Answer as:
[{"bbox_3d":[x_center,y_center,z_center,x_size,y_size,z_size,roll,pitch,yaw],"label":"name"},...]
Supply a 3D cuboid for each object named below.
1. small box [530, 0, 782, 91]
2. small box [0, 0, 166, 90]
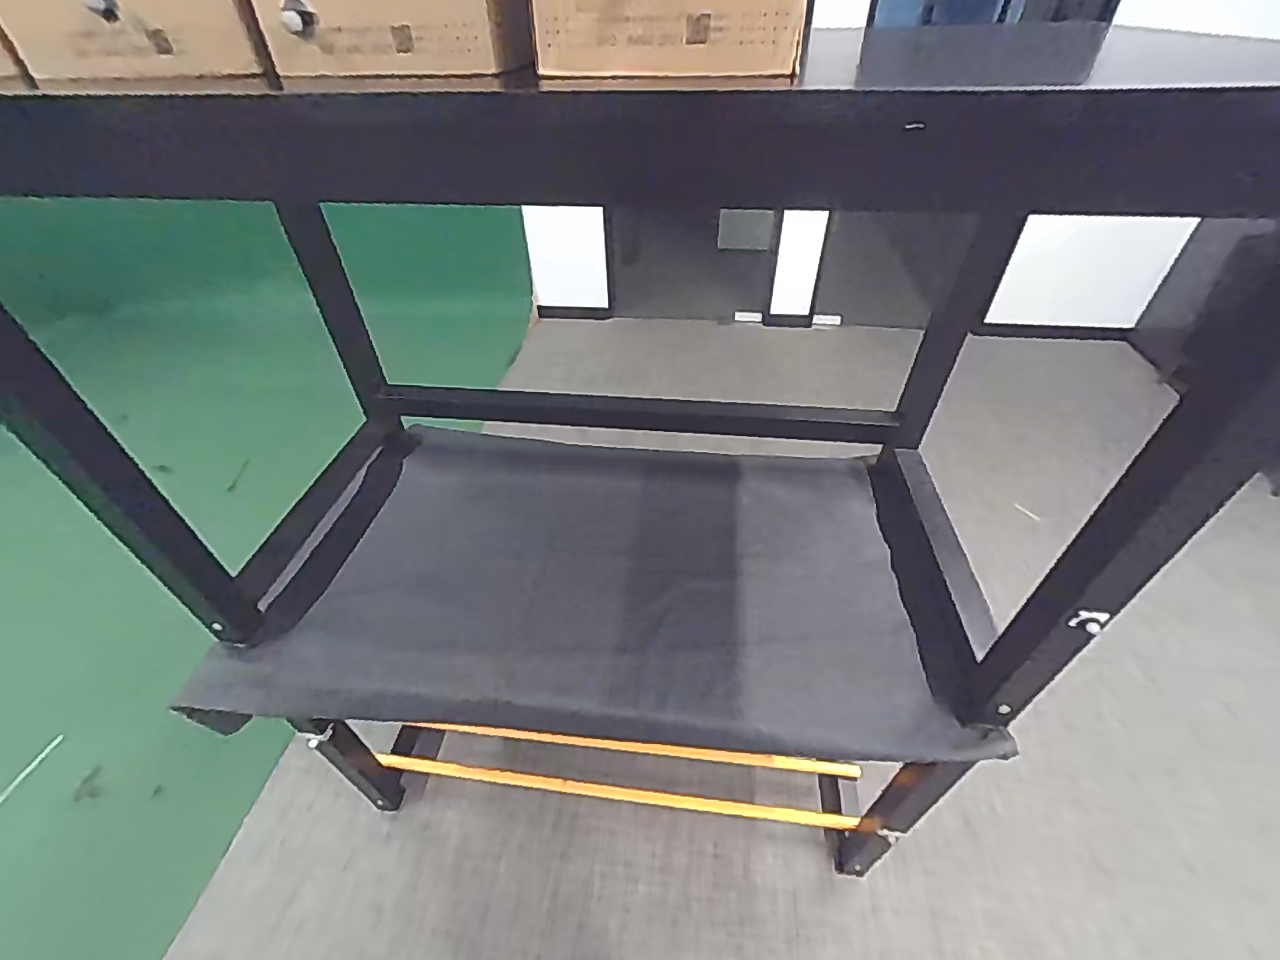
[{"bbox_3d":[0.017,-0.382,0.371,0.168,0.176,0.179,4,42,6],"label":"small box"},{"bbox_3d":[-0.552,-0.425,0.437,0.168,0.176,0.179,1,40,0],"label":"small box"}]
